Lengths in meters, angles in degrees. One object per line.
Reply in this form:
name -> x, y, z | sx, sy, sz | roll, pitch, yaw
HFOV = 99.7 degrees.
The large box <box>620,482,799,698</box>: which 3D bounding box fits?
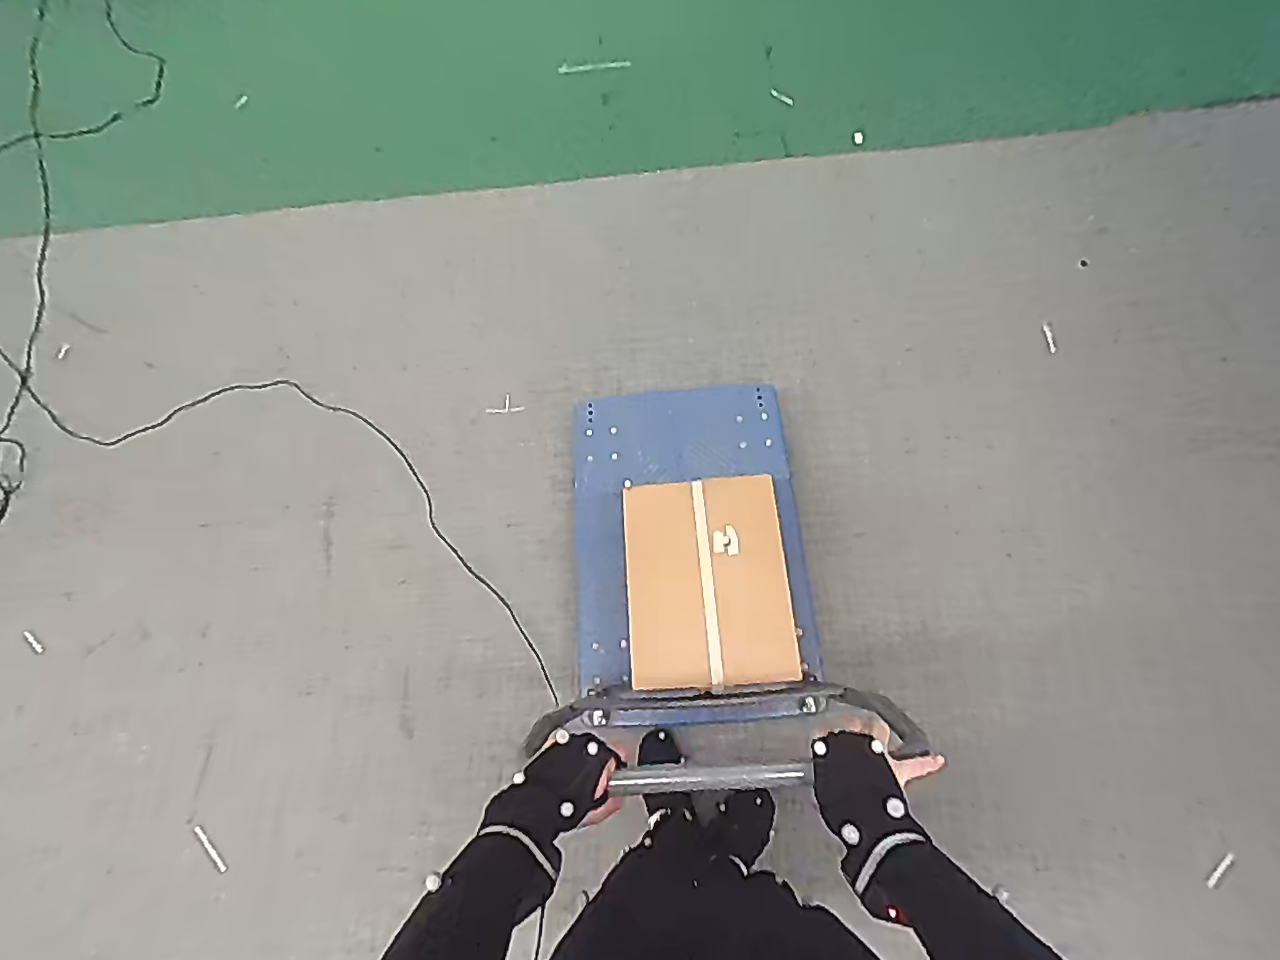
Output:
large box -> 0.139, 0.258, 1.204 | 0.320, 0.320, 0.408 | -5, 67, 3
